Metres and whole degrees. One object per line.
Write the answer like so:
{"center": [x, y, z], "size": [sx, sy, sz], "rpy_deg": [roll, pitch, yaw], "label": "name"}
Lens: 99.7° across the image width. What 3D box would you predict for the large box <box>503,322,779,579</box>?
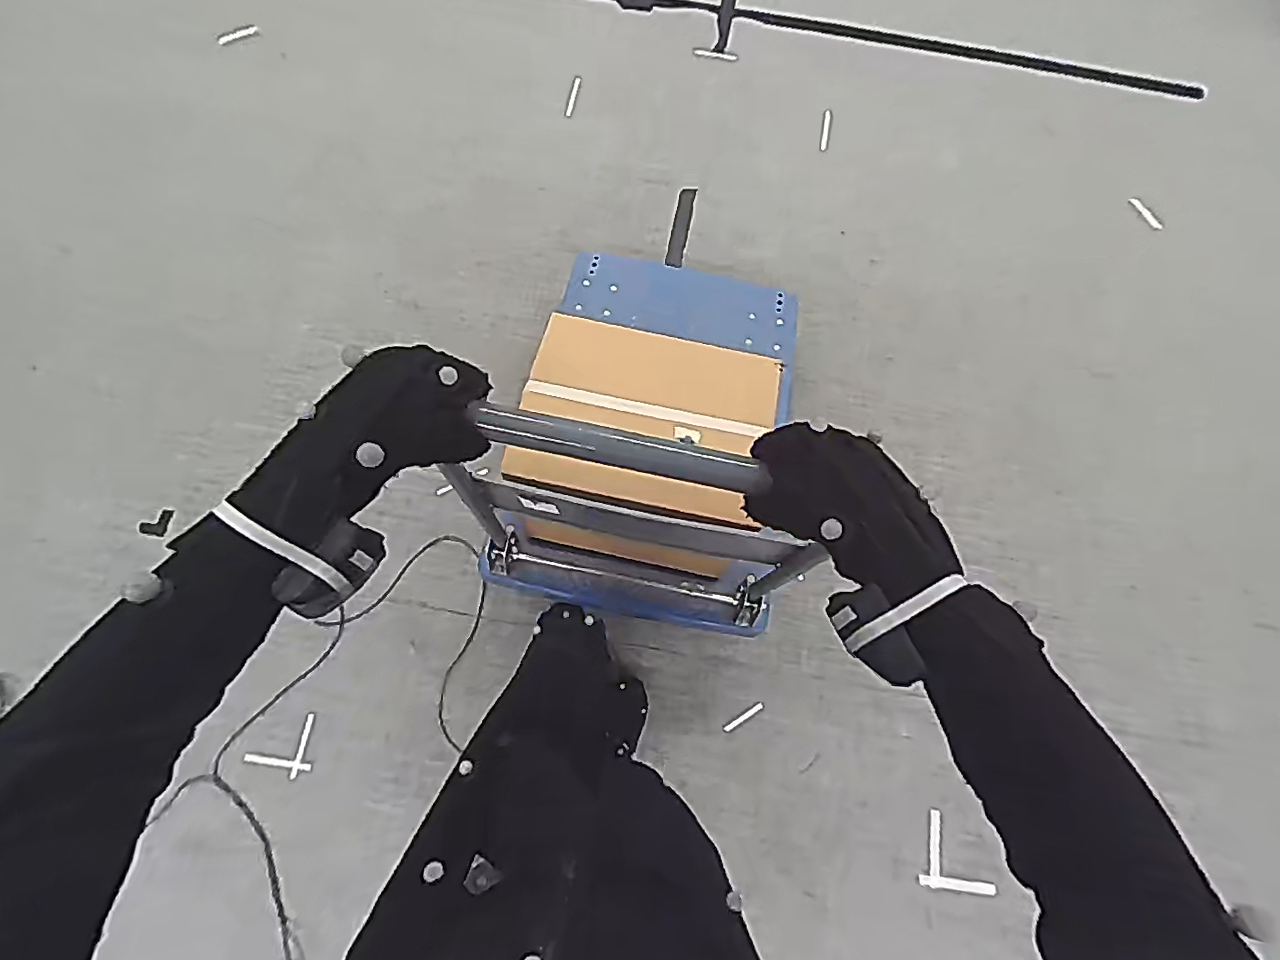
{"center": [0.002, -0.036, 0.994], "size": [0.408, 0.320, 0.320], "rpy_deg": [13, 67, 0], "label": "large box"}
